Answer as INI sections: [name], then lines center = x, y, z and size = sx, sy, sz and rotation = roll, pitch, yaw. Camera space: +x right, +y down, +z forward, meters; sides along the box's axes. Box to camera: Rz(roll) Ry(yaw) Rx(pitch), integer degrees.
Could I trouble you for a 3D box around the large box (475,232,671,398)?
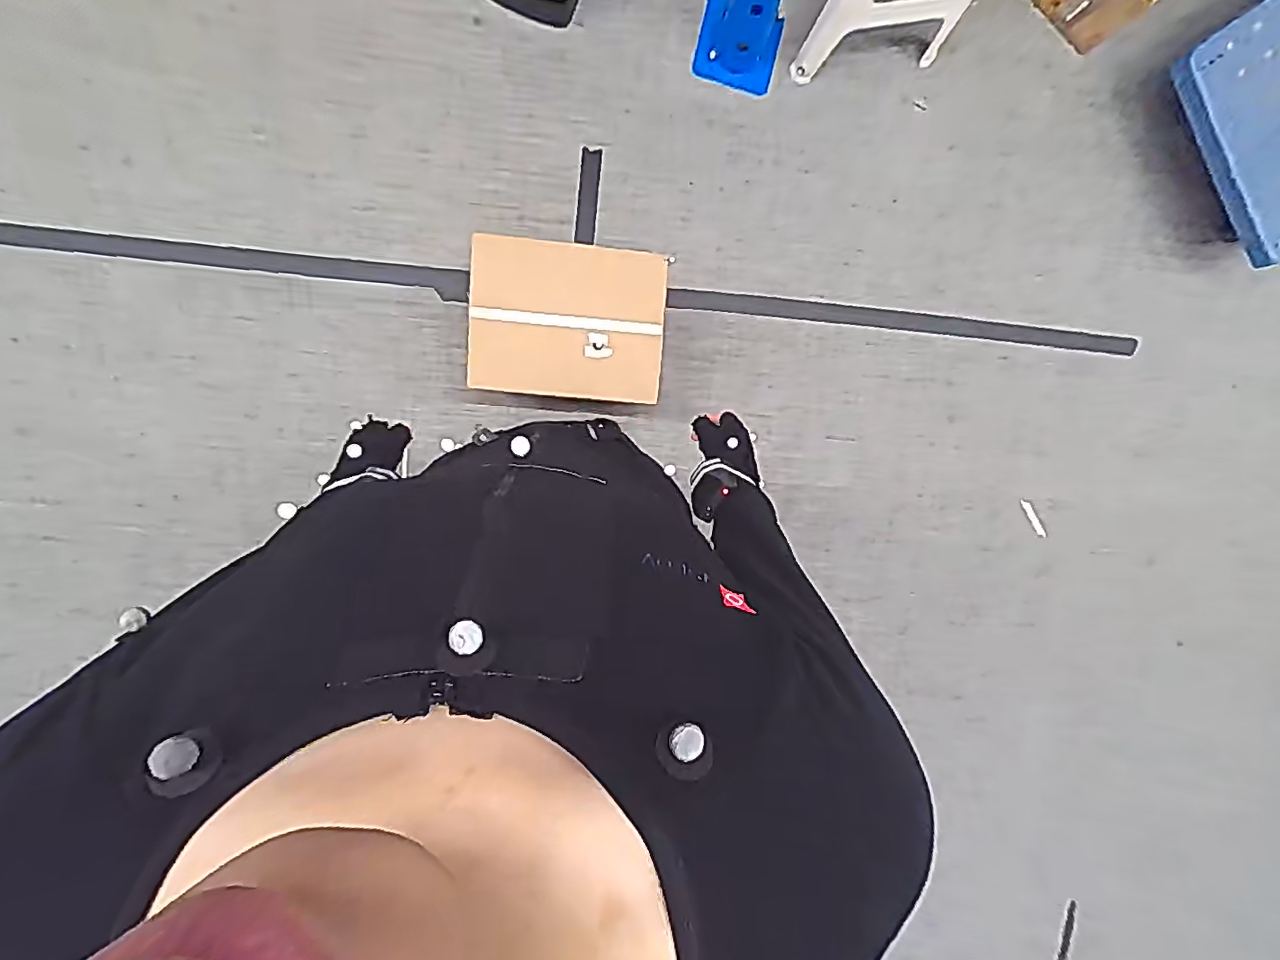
[large box]
center = -0.159, -0.362, 1.279
size = 0.408, 0.320, 0.320
rotation = 4, 99, -7
